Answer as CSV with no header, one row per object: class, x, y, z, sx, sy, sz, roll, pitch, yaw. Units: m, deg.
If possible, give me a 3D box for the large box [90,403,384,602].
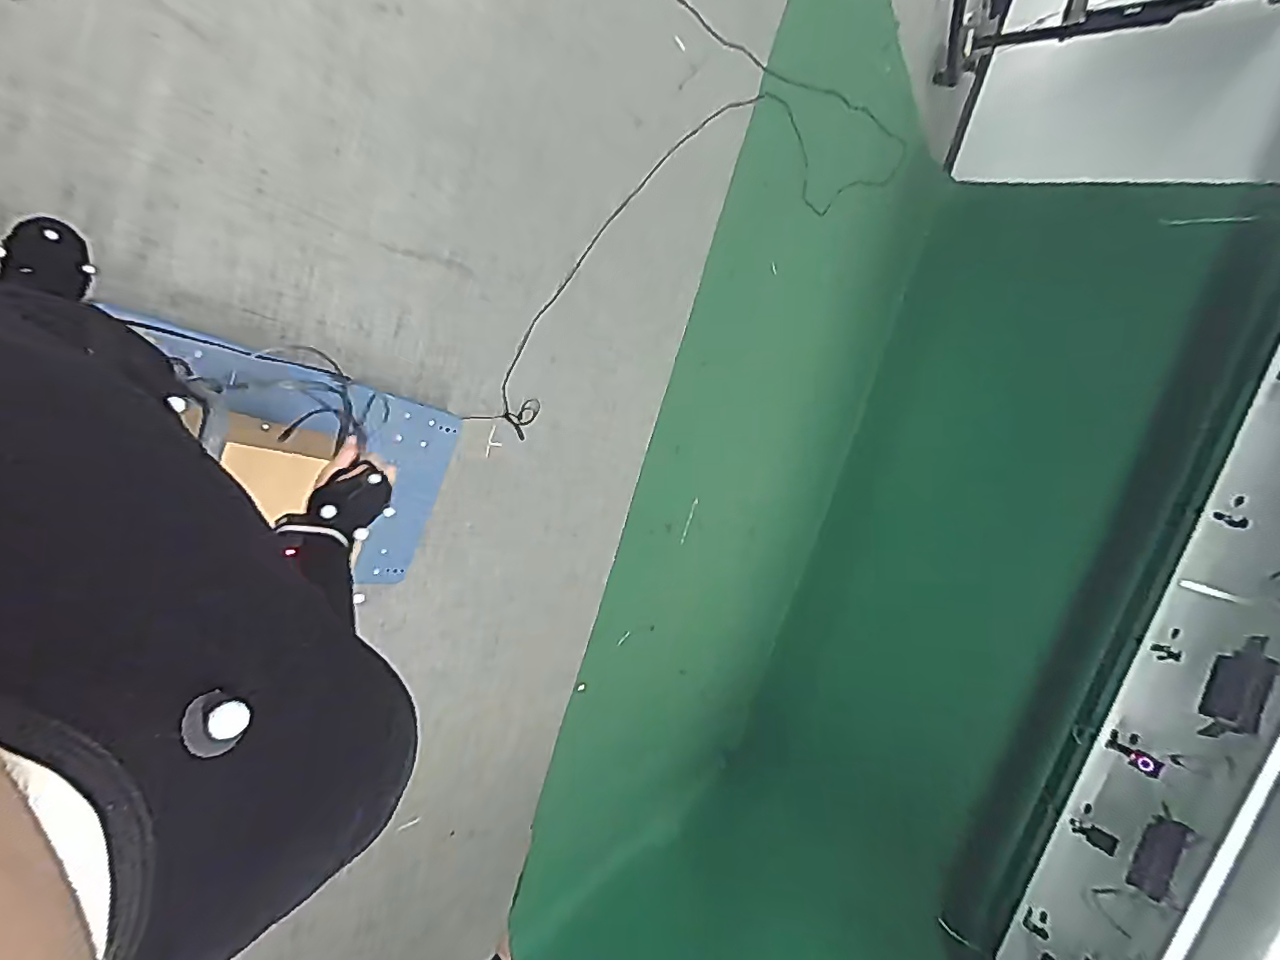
large box,-0.868,0.054,1.184,0.408,0.320,0.320,16,96,-55
